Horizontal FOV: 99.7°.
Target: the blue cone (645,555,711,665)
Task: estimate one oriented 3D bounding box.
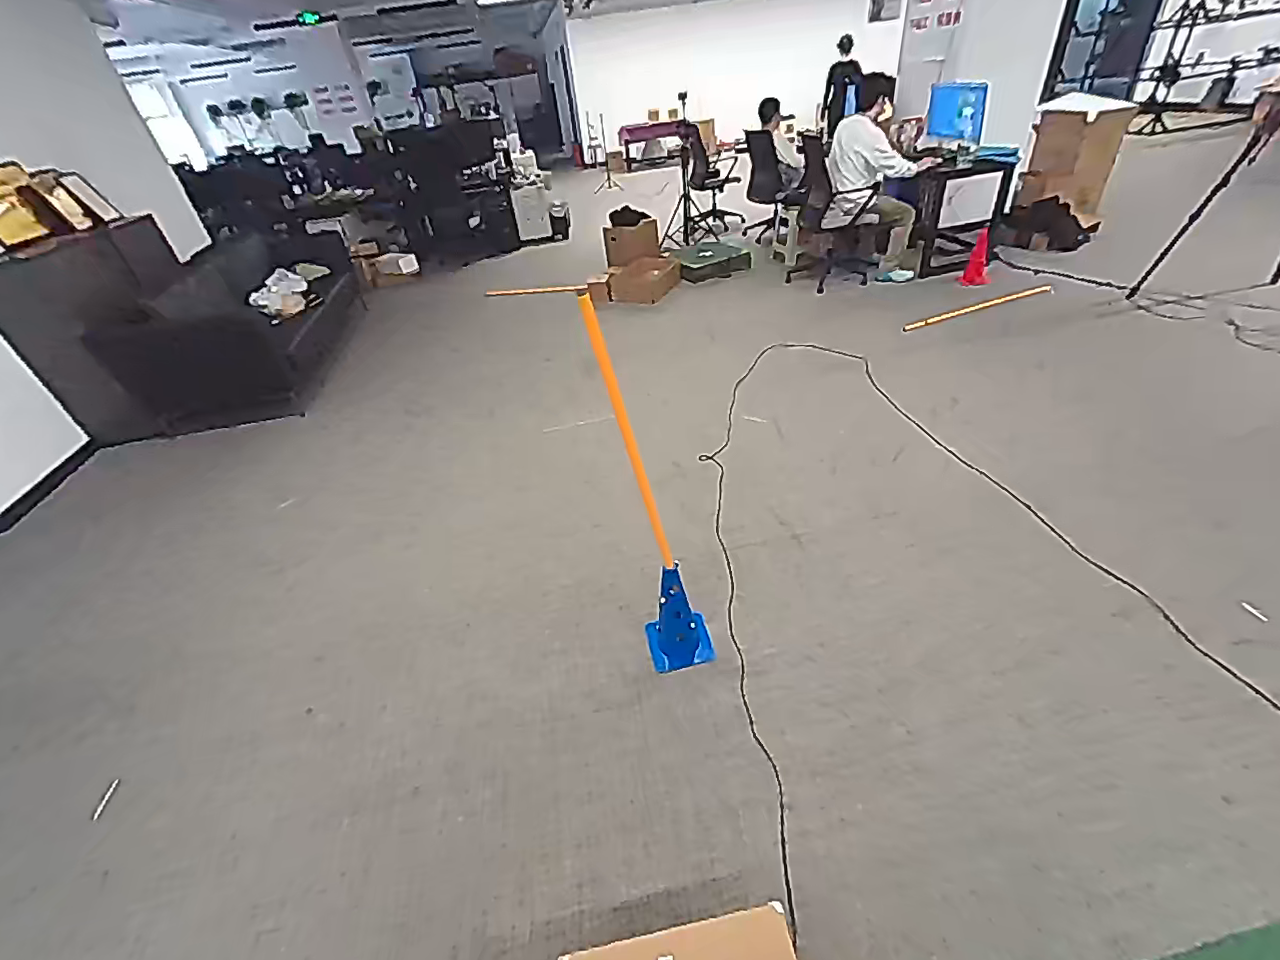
[{"bbox_3d":[0.102,0.385,1.675,0.193,0.380,0.192,-15,37,-6],"label":"blue cone"}]
